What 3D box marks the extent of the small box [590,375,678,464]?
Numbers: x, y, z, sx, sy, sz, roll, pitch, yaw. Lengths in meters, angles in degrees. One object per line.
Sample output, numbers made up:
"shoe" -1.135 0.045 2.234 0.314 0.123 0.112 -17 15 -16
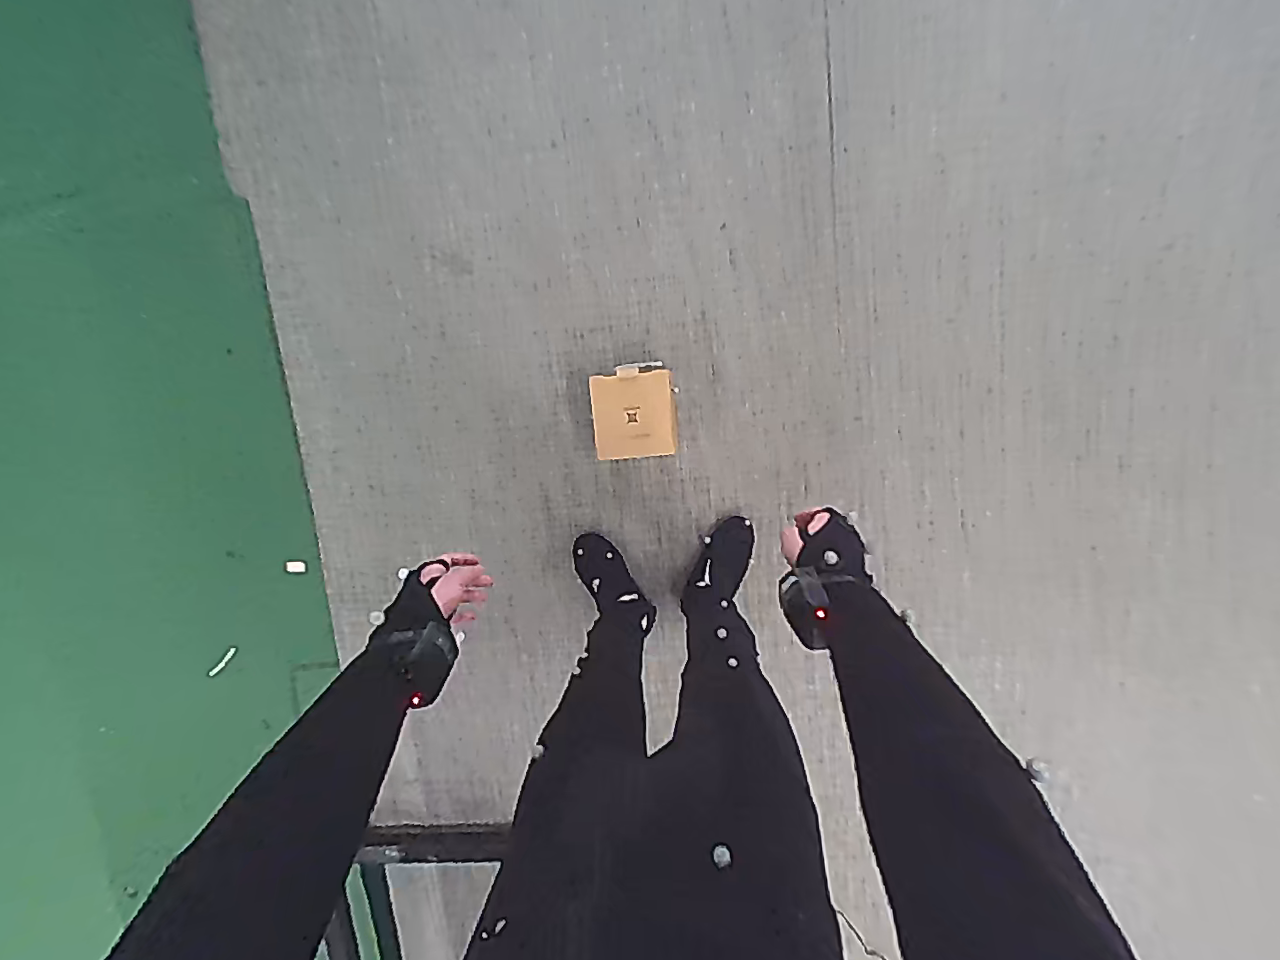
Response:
"small box" -0.007 -0.131 1.169 0.168 0.176 0.179 -2 99 8
